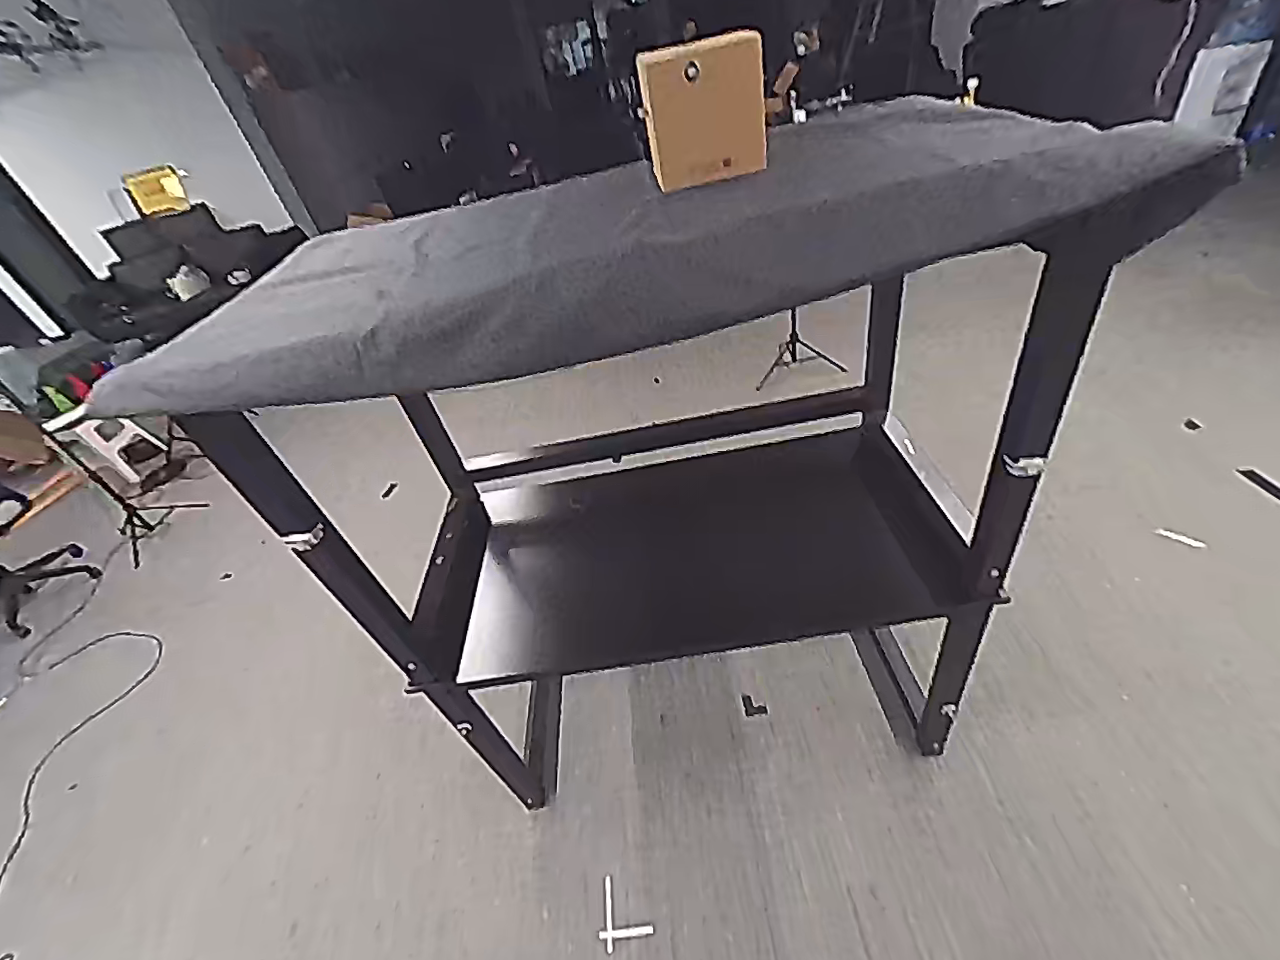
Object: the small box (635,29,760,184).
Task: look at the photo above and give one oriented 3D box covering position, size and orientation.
[{"bbox_3d":[0.090,-0.589,0.861,0.168,0.176,0.179,-11,39,4],"label":"small box"}]
